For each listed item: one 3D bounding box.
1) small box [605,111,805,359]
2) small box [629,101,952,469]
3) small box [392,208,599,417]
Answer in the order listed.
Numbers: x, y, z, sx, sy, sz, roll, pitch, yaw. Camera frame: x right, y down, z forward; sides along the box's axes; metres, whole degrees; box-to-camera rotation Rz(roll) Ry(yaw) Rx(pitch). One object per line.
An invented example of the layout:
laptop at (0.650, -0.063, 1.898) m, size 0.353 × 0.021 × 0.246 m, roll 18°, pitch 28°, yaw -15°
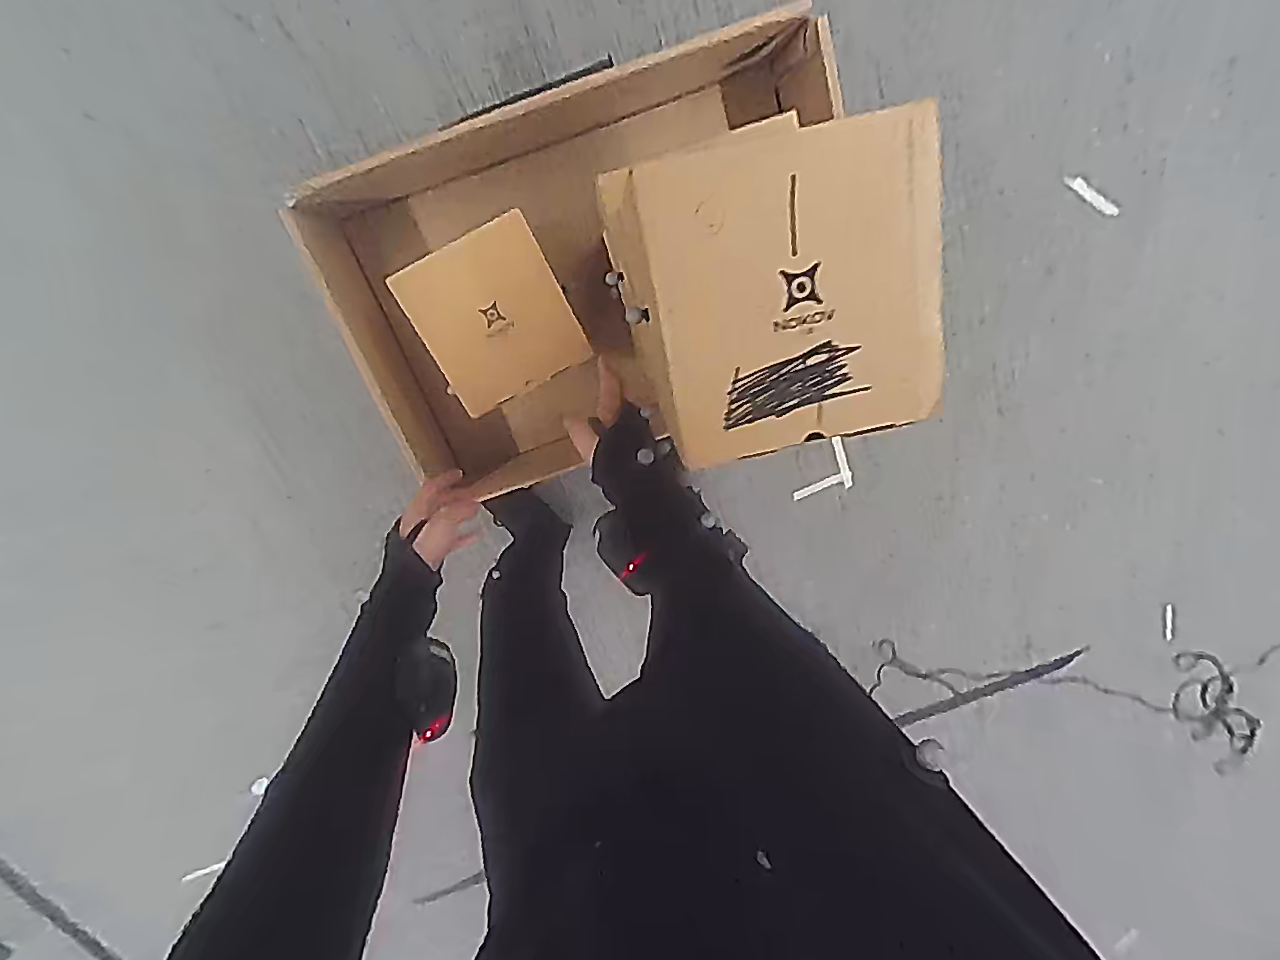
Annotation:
small box at (0.066, -0.214, 0.525) m, size 0.168 × 0.176 × 0.179 m, roll -17°, pitch 111°, yaw 2°
small box at (0.090, -0.128, 0.382) m, size 0.168 × 0.176 × 0.179 m, roll -12°, pitch 110°, yaw 0°
small box at (-0.168, -0.205, 0.673) m, size 0.168 × 0.176 × 0.179 m, roll -28°, pitch 111°, yaw 2°
